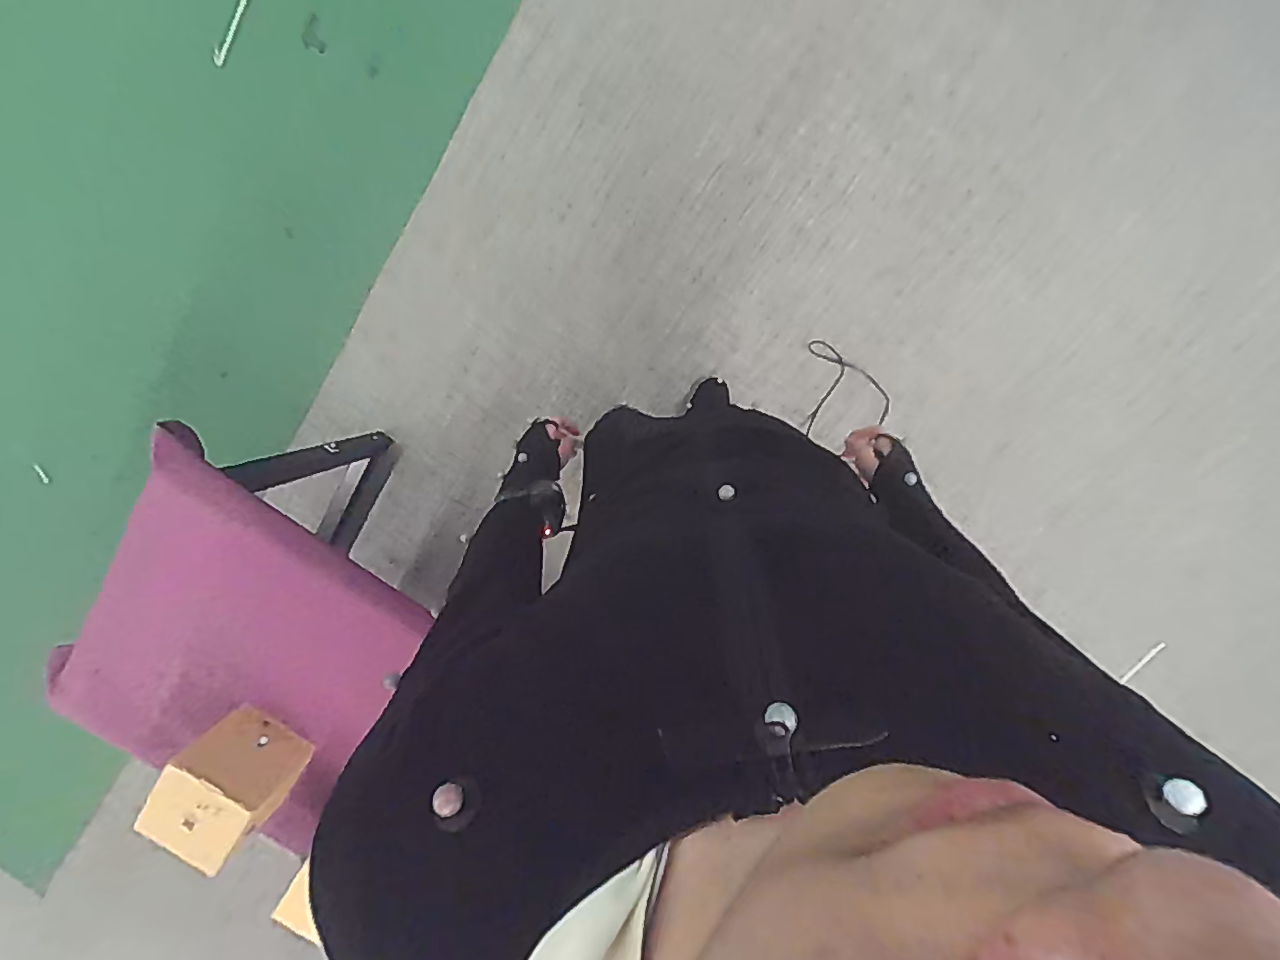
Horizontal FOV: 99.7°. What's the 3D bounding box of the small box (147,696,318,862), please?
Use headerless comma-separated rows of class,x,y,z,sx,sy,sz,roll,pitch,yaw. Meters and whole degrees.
small box,-0.758,0.556,1.023,0.168,0.176,0.179,35,103,-3

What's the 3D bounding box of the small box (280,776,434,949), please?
small box,-0.530,0.722,1.037,0.168,0.176,0.179,34,103,-2
